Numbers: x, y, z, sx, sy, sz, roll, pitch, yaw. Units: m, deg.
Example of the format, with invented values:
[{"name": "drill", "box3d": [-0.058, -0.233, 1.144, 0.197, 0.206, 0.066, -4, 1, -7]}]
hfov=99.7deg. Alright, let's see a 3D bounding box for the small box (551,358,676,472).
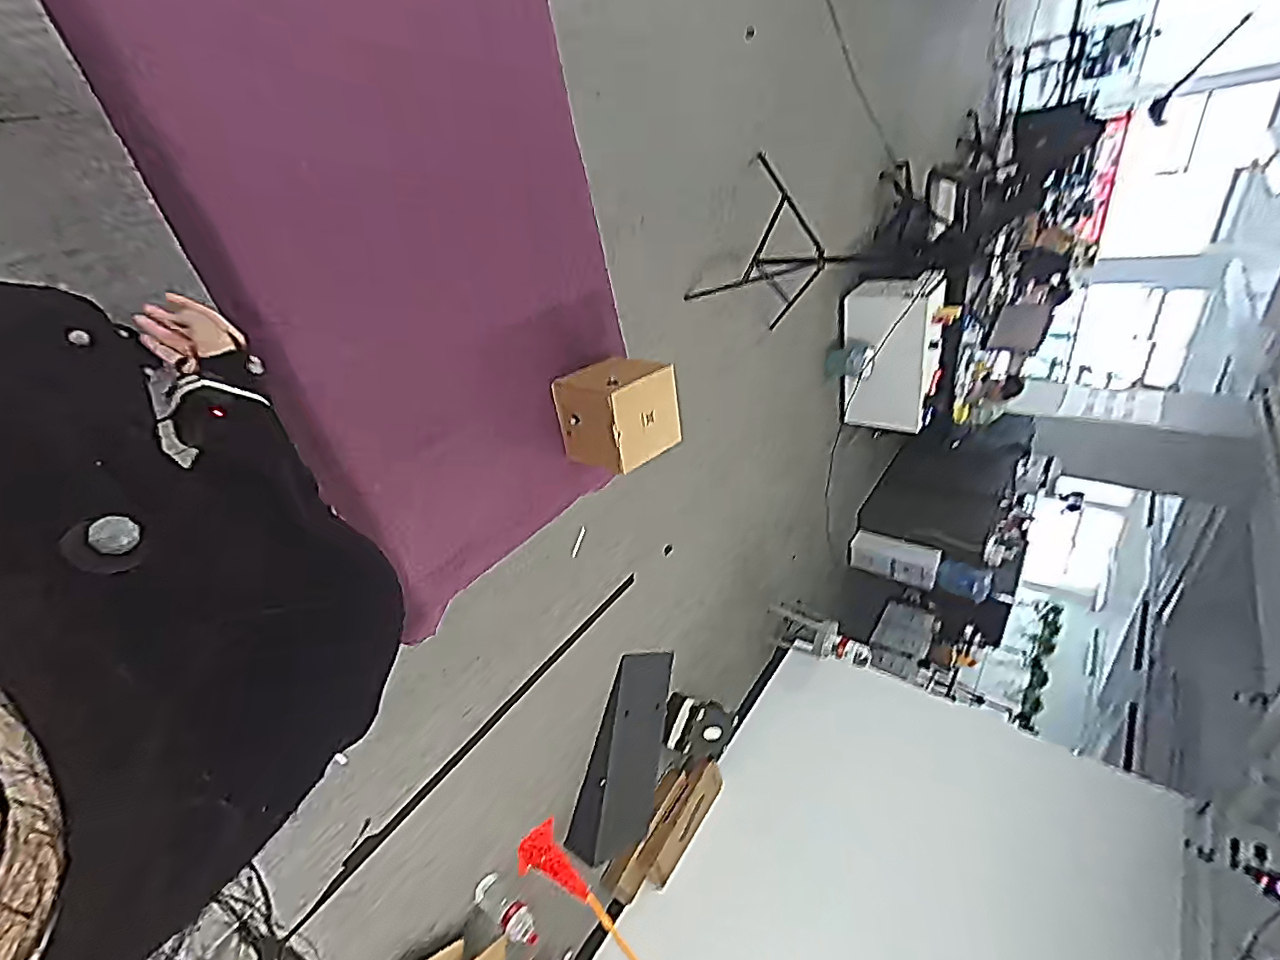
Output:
[{"name": "small box", "box3d": [-0.051, -0.140, 1.091, 0.179, 0.176, 0.168, -33, 126, -37]}]
